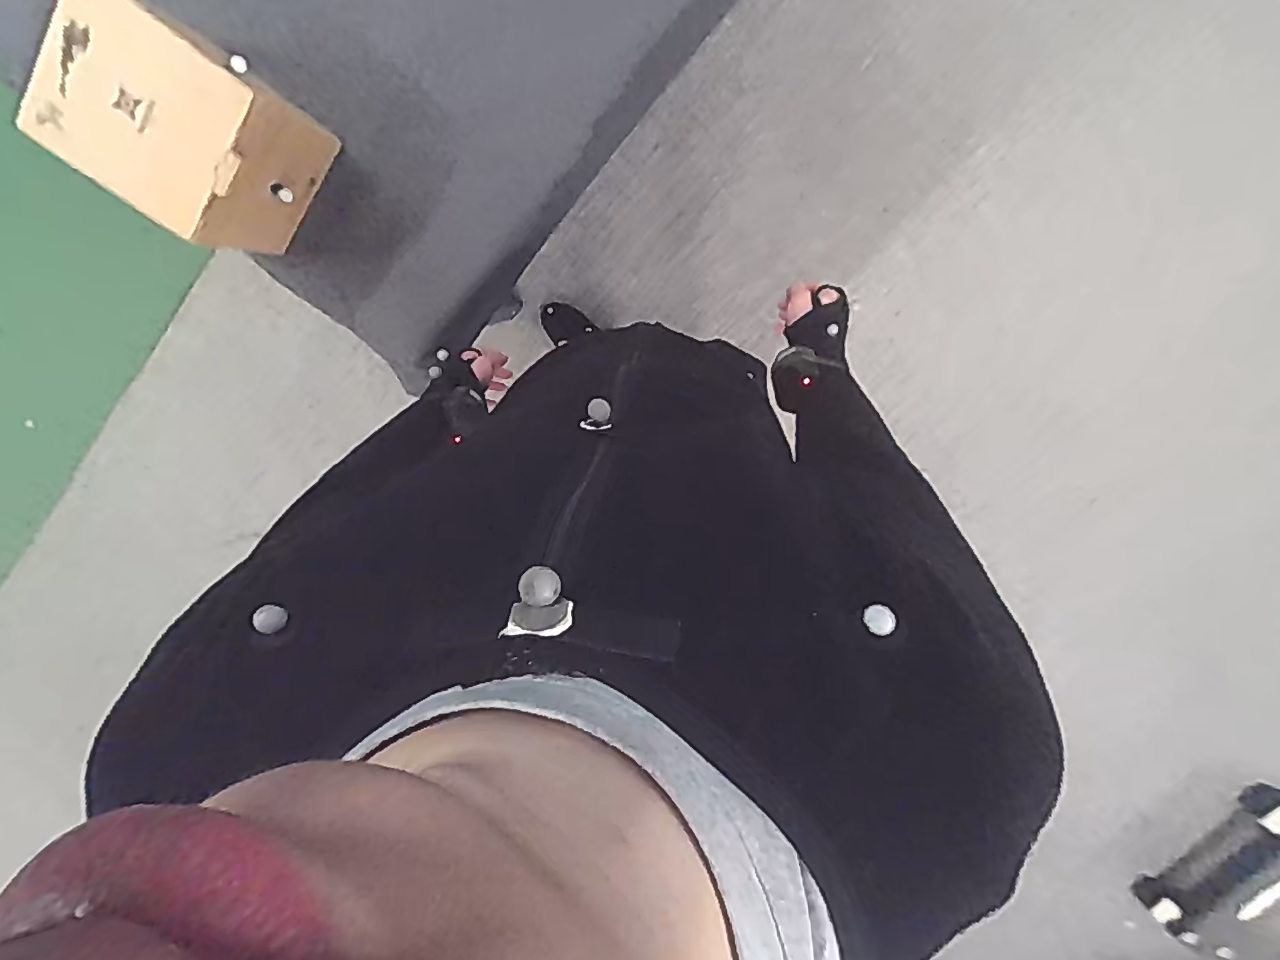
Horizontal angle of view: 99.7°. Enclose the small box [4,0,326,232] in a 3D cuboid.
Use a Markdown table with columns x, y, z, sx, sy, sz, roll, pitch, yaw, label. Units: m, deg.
| x | y | z | sx | sy | sz | roll | pitch | yaw | label |
| --- | --- | --- | --- | --- | --- | --- | --- | --- | --- |
| -0.487 | -0.393 | 0.585 | 0.179 | 0.176 | 0.168 | 35 | 105 | -14 | small box |
